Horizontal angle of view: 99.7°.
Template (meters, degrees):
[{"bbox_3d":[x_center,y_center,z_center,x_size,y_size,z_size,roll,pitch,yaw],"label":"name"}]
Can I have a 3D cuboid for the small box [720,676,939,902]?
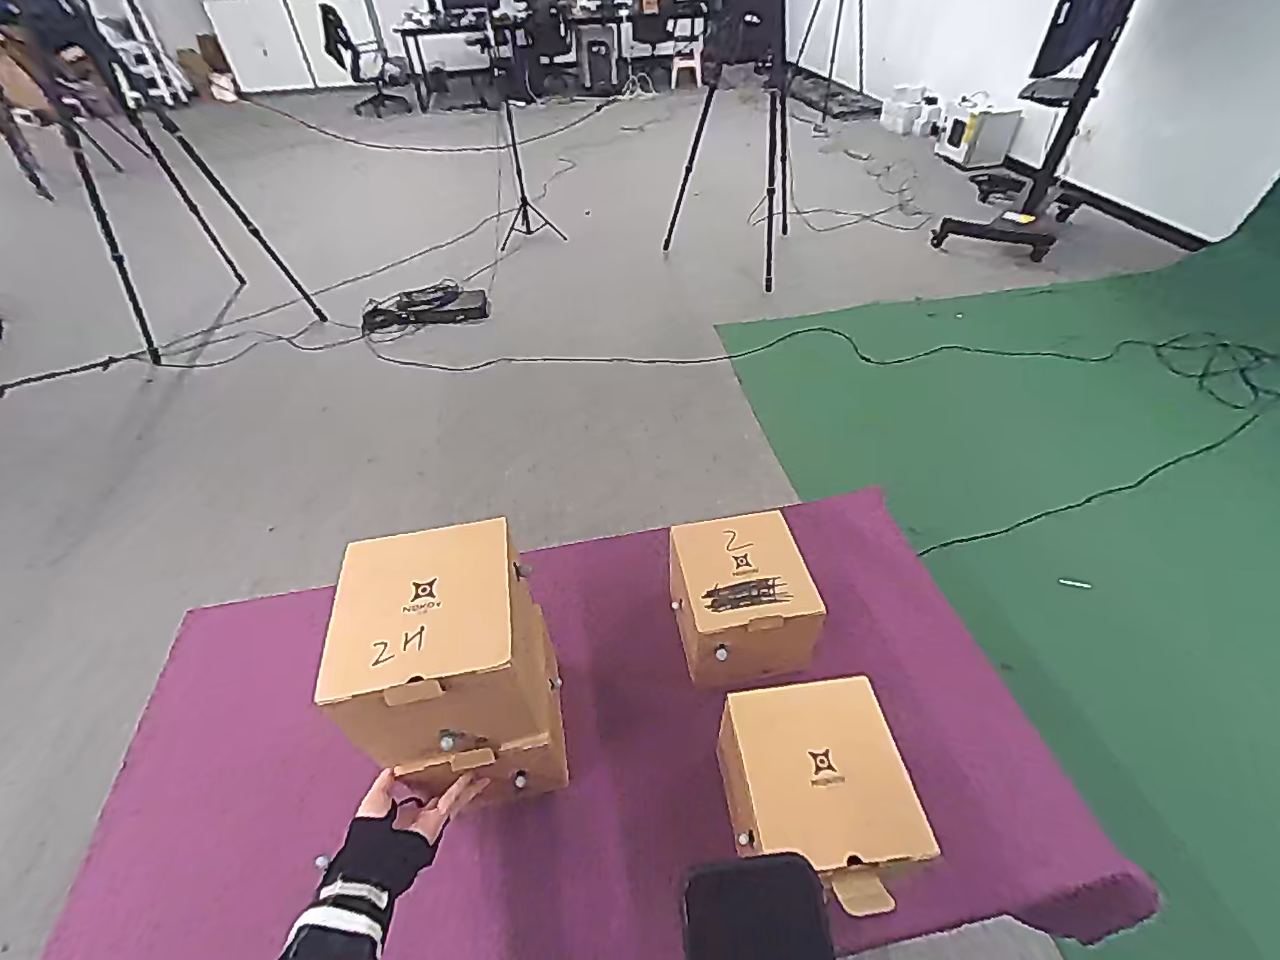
[{"bbox_3d":[0.190,0.348,0.612,0.168,0.176,0.179,-6,47,-3],"label":"small box"}]

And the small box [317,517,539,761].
[{"bbox_3d":[-0.205,0.168,0.577,0.168,0.176,0.179,-10,46,-7],"label":"small box"}]

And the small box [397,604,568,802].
[{"bbox_3d":[-0.188,0.288,0.689,0.168,0.176,0.179,-9,46,-7],"label":"small box"}]
